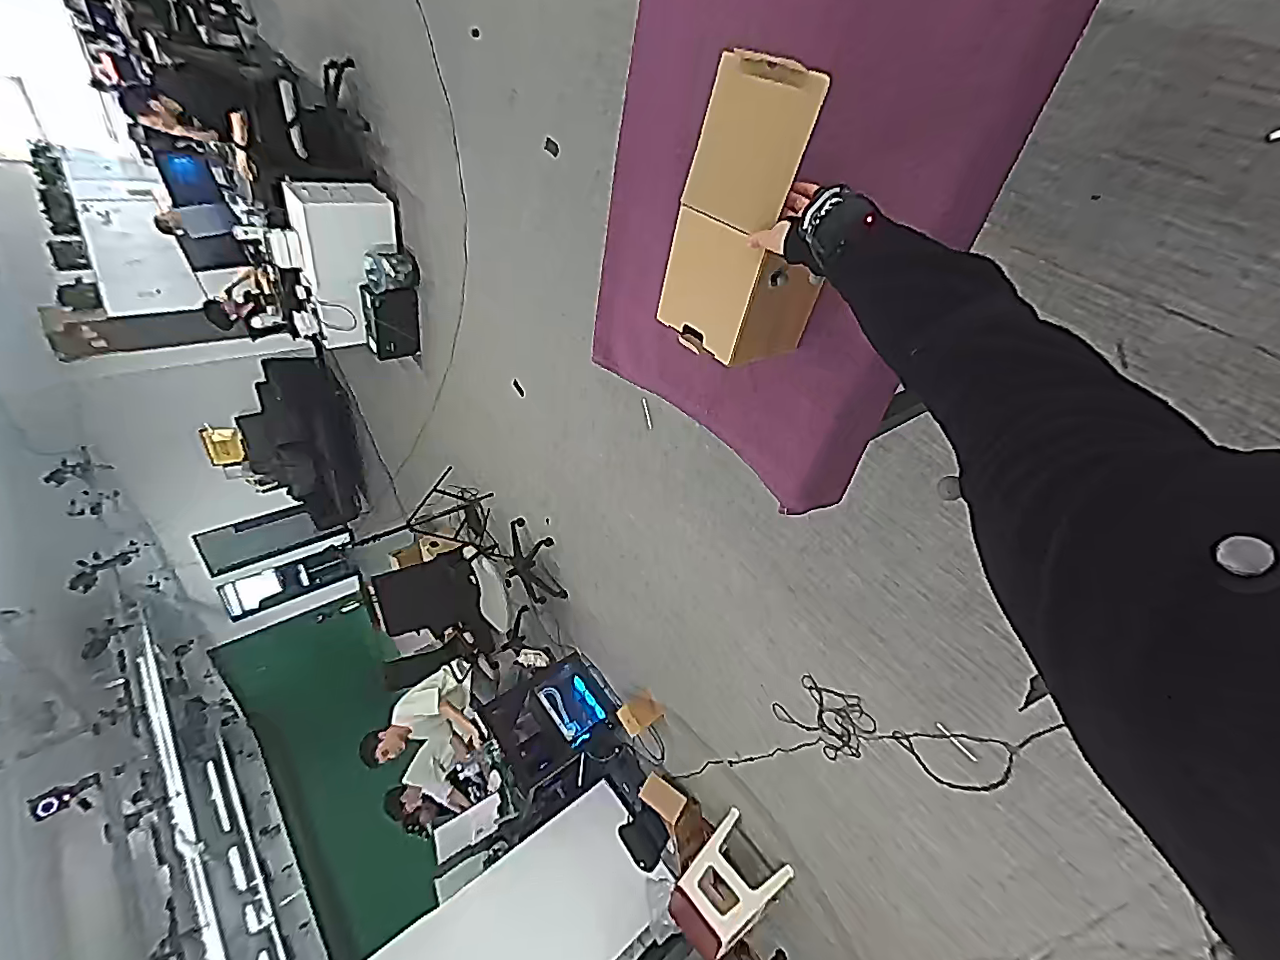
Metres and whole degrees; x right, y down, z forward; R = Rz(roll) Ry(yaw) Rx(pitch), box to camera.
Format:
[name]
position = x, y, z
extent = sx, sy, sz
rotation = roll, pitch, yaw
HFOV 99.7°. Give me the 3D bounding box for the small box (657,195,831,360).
[small box]
position = 0.154, -0.307, 0.806
extent = 0.168, 0.176, 0.179
rotation = 44, 138, 31
